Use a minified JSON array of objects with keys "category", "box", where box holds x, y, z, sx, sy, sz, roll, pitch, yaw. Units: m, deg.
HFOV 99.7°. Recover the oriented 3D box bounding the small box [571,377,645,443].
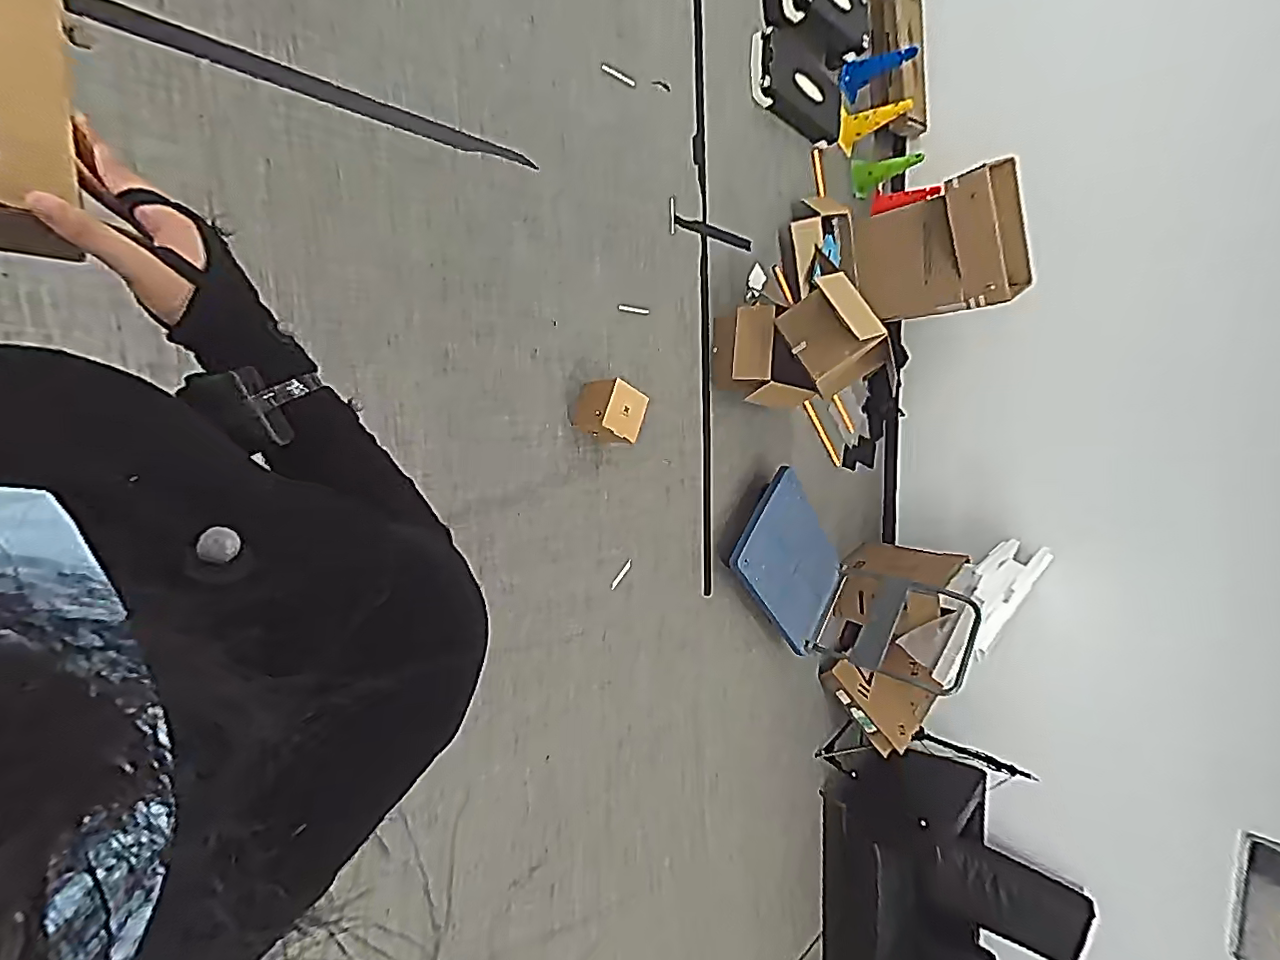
[{"category":"small box","box":[-0.115,-0.241,1.890,0.168,0.176,0.179,27,76,-43]}]
